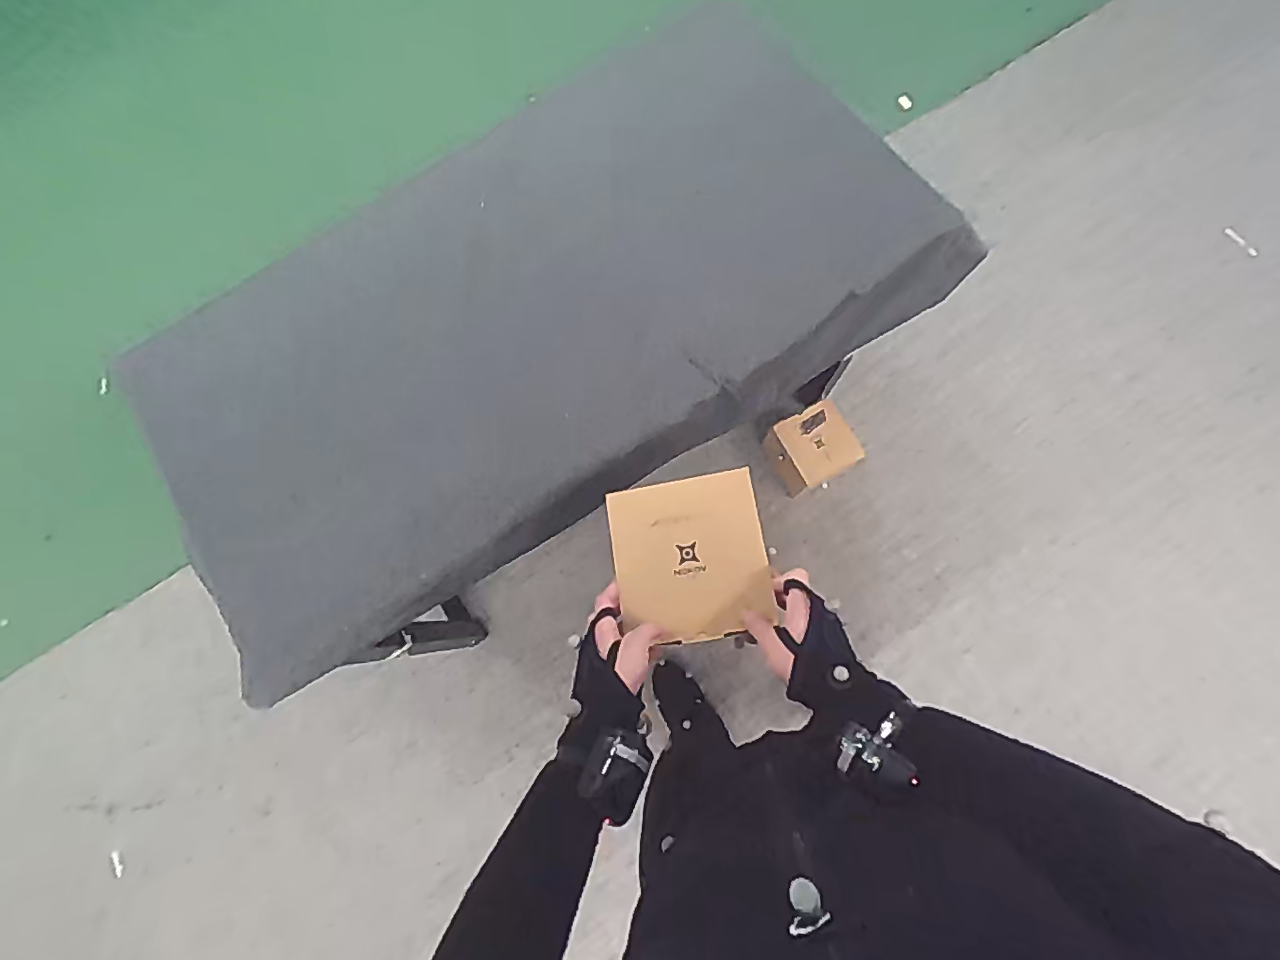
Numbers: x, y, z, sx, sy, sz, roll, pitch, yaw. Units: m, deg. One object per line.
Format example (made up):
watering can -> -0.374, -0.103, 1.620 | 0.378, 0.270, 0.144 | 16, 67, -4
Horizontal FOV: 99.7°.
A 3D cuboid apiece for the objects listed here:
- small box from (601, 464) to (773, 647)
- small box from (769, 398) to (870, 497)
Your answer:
small box -> 0.061, 0.099, 0.657 | 0.168, 0.176, 0.179 | -11, 73, 7
small box -> 0.453, -0.077, 1.403 | 0.168, 0.176, 0.179 | -28, 76, -2
